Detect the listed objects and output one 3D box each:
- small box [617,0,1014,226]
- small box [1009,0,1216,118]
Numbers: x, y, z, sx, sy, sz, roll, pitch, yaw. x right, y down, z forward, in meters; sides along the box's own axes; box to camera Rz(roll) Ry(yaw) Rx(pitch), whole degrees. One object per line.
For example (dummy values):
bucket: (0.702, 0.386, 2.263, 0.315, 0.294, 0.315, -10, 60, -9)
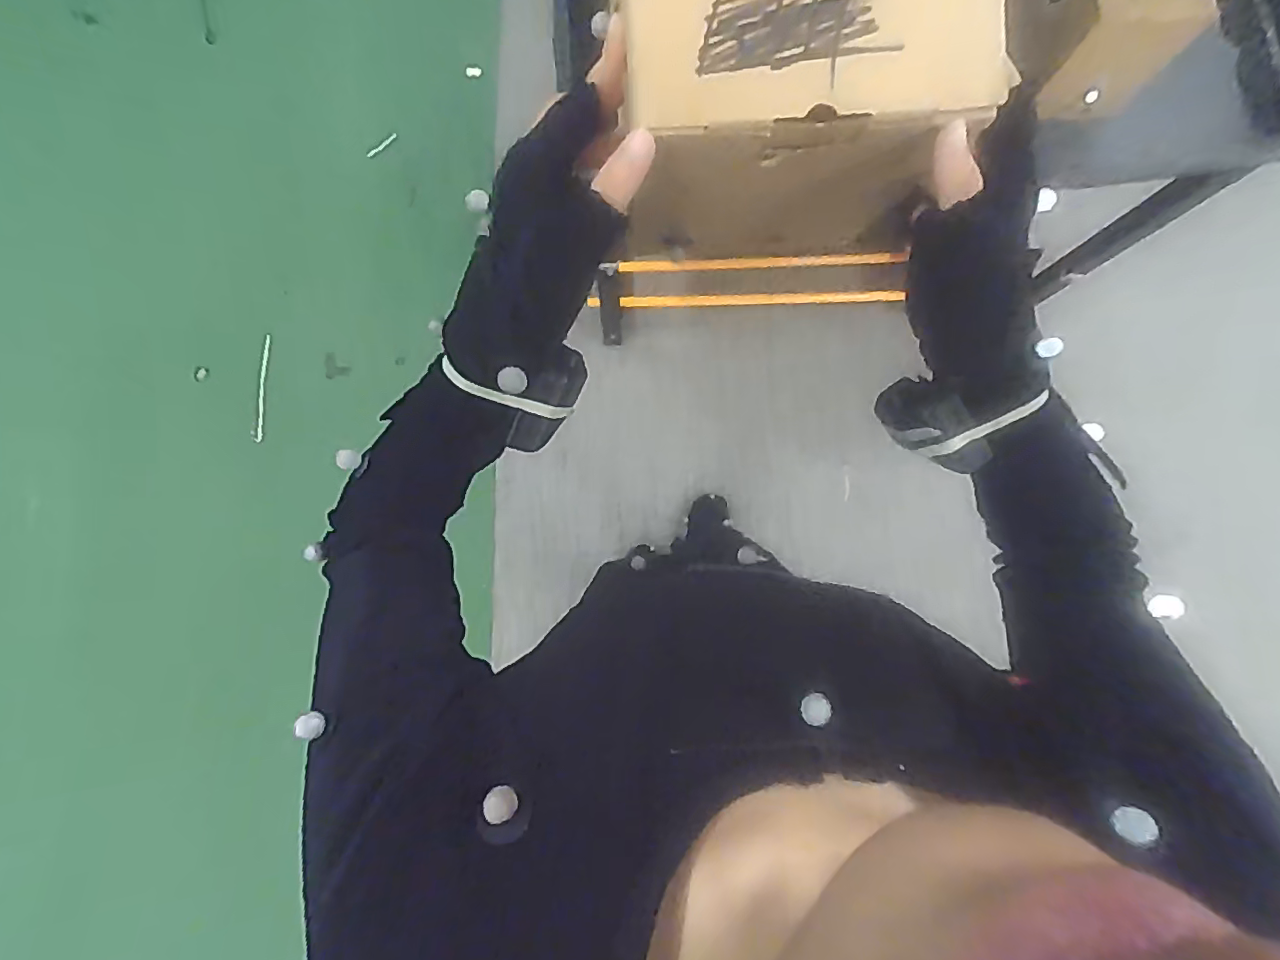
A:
small box: (0.073, -0.260, 0.306, 0.168, 0.176, 0.179, -4, 94, -2)
small box: (0.690, -0.692, 0.820, 0.168, 0.176, 0.179, -3, 80, -1)
